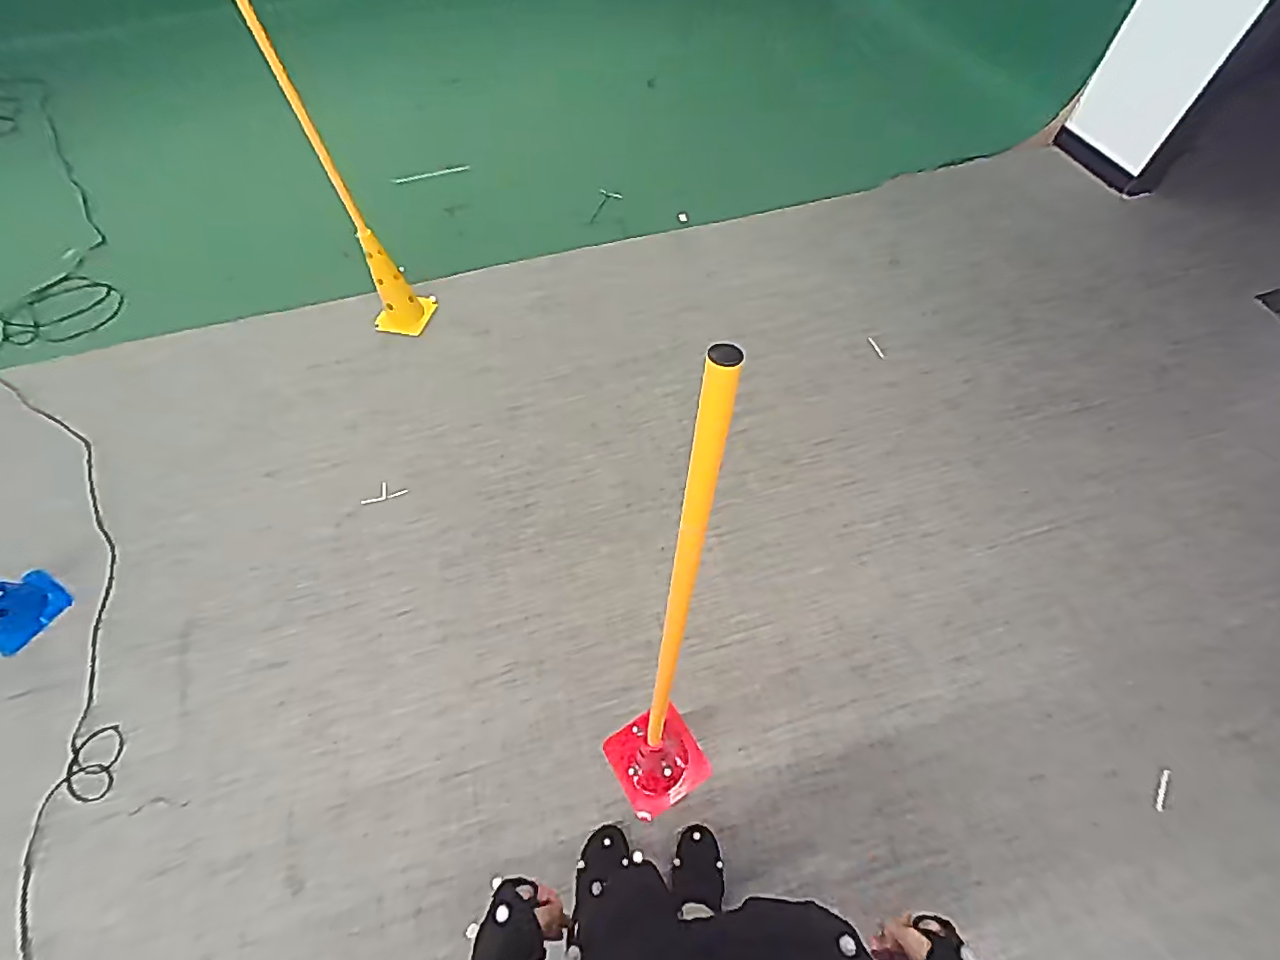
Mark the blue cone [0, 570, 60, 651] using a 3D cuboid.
[{"bbox_3d":[-1.749,0.284,1.365,0.192,0.380,0.193,25,65,15],"label":"blue cone"}]
